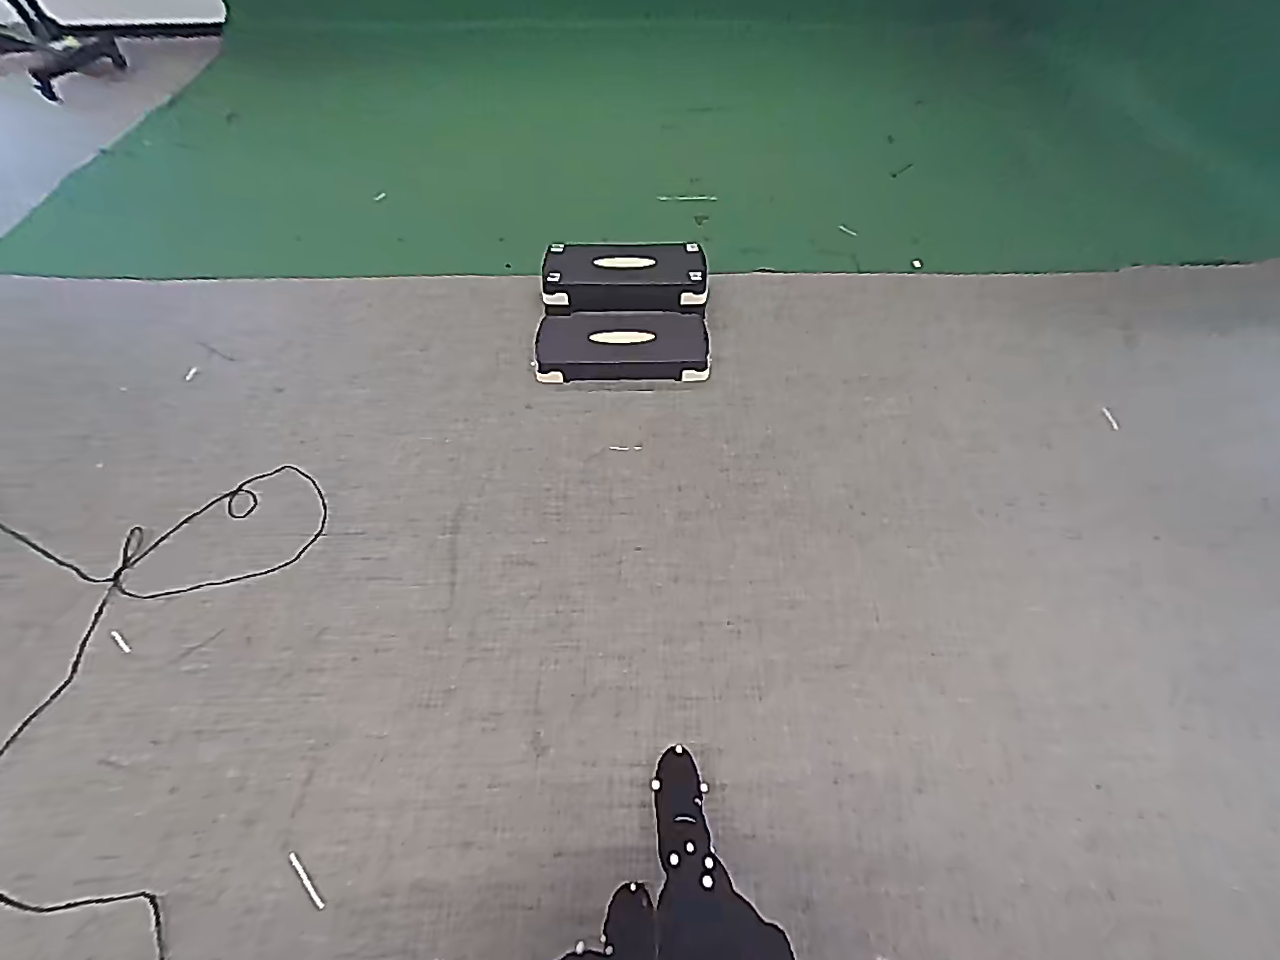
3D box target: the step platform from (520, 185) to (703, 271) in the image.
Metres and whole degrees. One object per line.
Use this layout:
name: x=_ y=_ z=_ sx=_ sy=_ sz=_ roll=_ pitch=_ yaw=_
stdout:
step platform: x=-0.105 y=-0.976 z=2.097 sx=0.684 sy=0.204 sz=0.286 roll=-1 pitch=56 yaw=0
